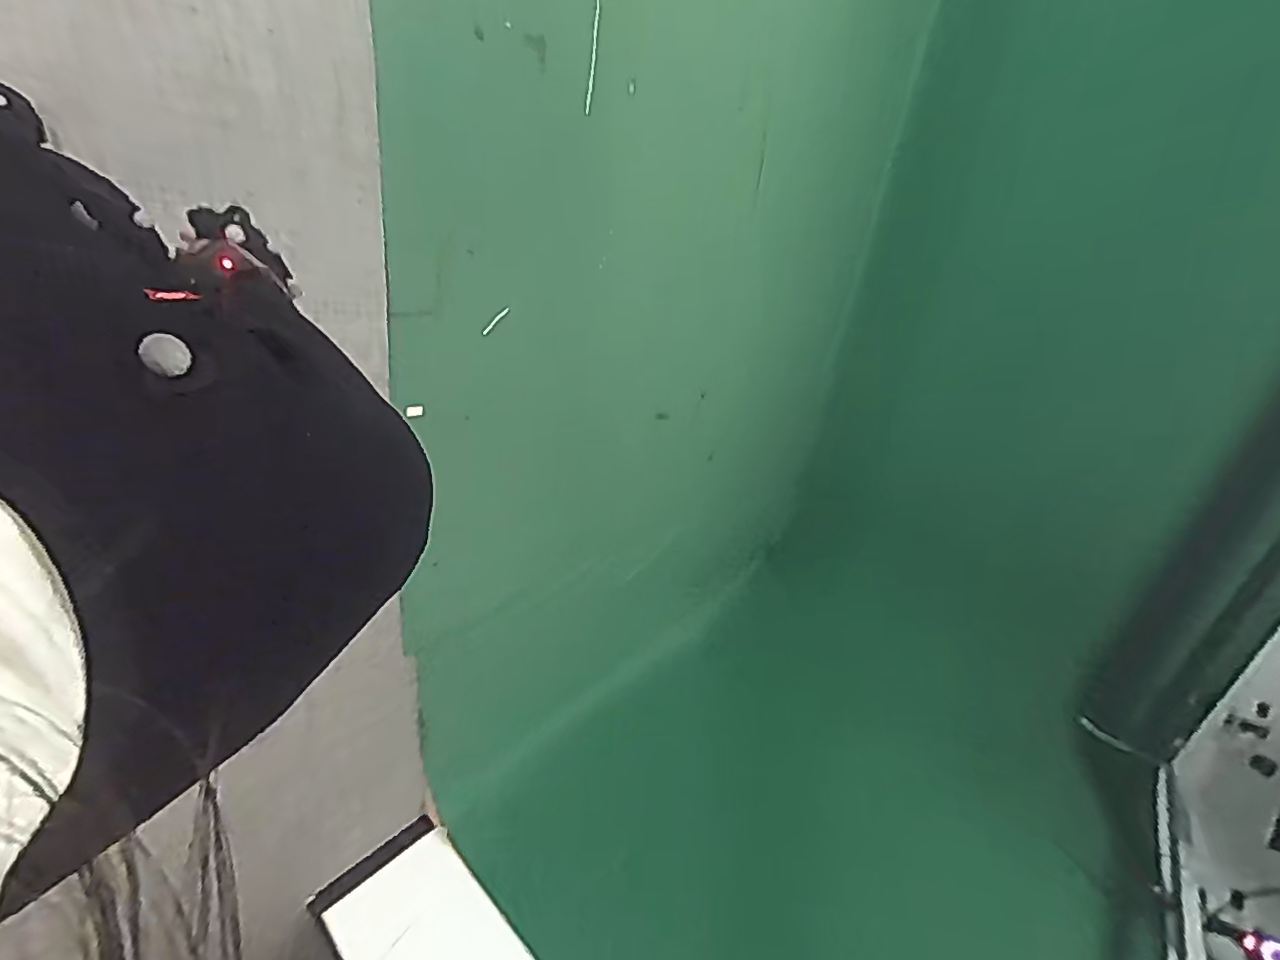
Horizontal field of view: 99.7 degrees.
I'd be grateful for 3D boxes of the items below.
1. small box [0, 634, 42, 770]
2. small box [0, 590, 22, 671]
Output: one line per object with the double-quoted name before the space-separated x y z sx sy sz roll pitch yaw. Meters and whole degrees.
"small box" -1.139 0.385 0.894 0.168 0.176 0.179 -20 125 -49
"small box" -1.264 0.318 0.975 0.179 0.176 0.168 -17 124 -47
